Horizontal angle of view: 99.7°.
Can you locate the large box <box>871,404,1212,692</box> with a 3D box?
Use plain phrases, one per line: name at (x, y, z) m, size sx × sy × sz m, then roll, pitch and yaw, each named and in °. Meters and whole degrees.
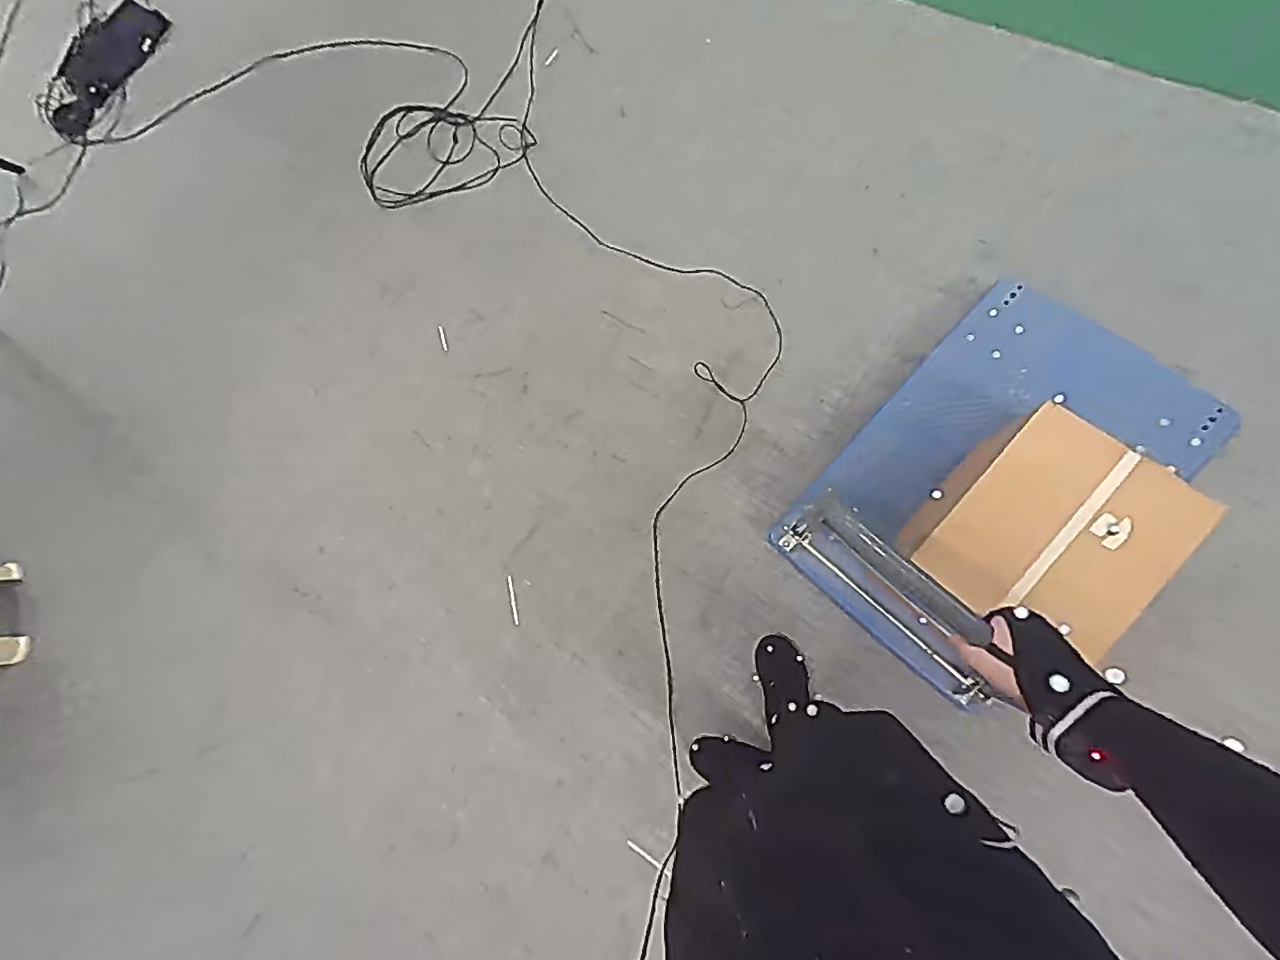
large box at (0.733, 0.136, 1.066) m, size 0.320 × 0.320 × 0.408 m, roll 41°, pitch 88°, yaw 15°
